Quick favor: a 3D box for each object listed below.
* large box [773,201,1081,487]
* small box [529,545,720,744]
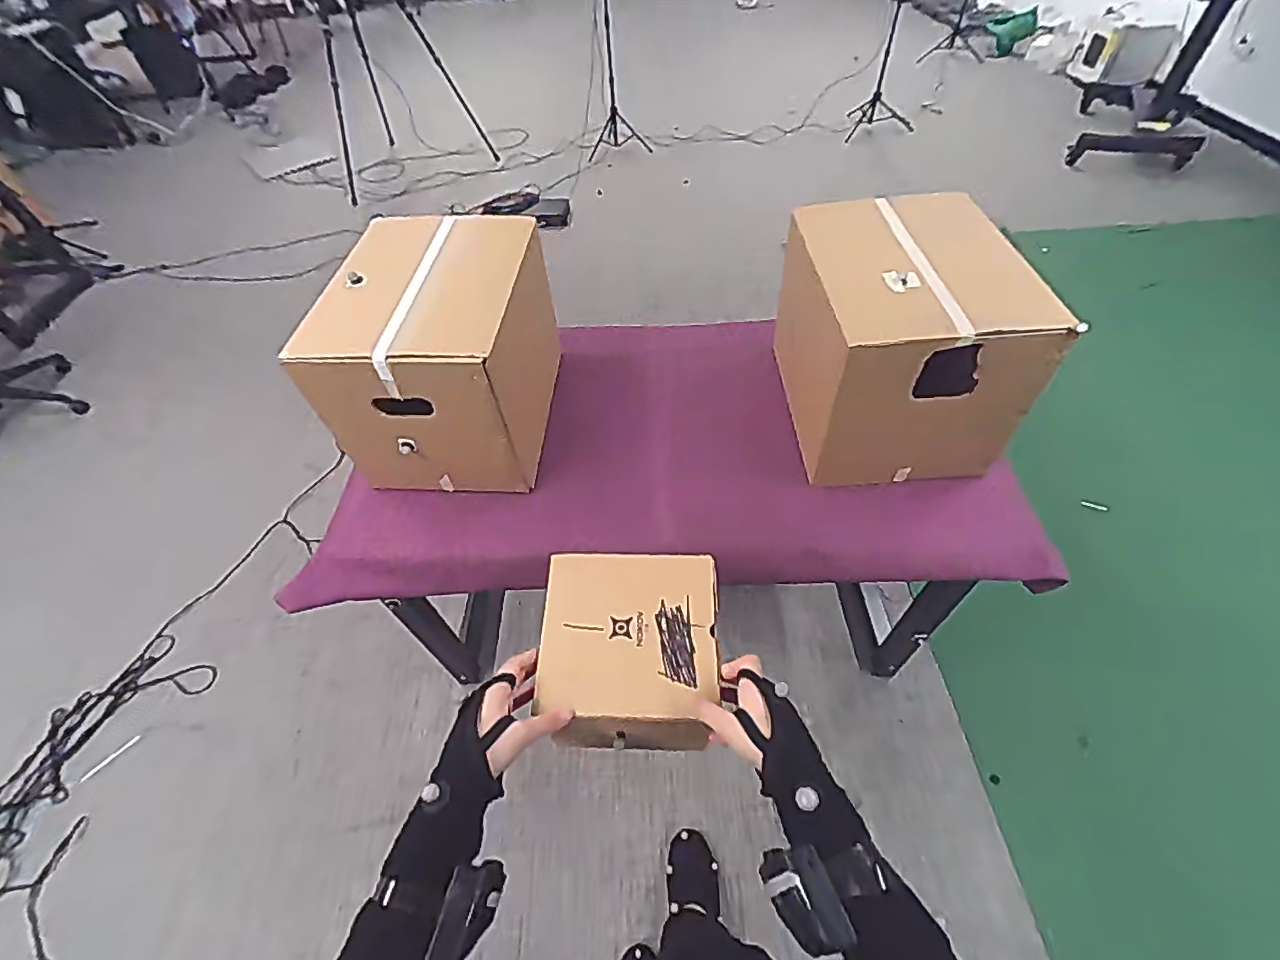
[{"bbox_3d":[0.443,-0.243,0.966,0.320,0.320,0.408,-4,52,3],"label":"large box"},{"bbox_3d":[-0.011,0.186,0.598,0.179,0.176,0.168,1,54,2],"label":"small box"}]
